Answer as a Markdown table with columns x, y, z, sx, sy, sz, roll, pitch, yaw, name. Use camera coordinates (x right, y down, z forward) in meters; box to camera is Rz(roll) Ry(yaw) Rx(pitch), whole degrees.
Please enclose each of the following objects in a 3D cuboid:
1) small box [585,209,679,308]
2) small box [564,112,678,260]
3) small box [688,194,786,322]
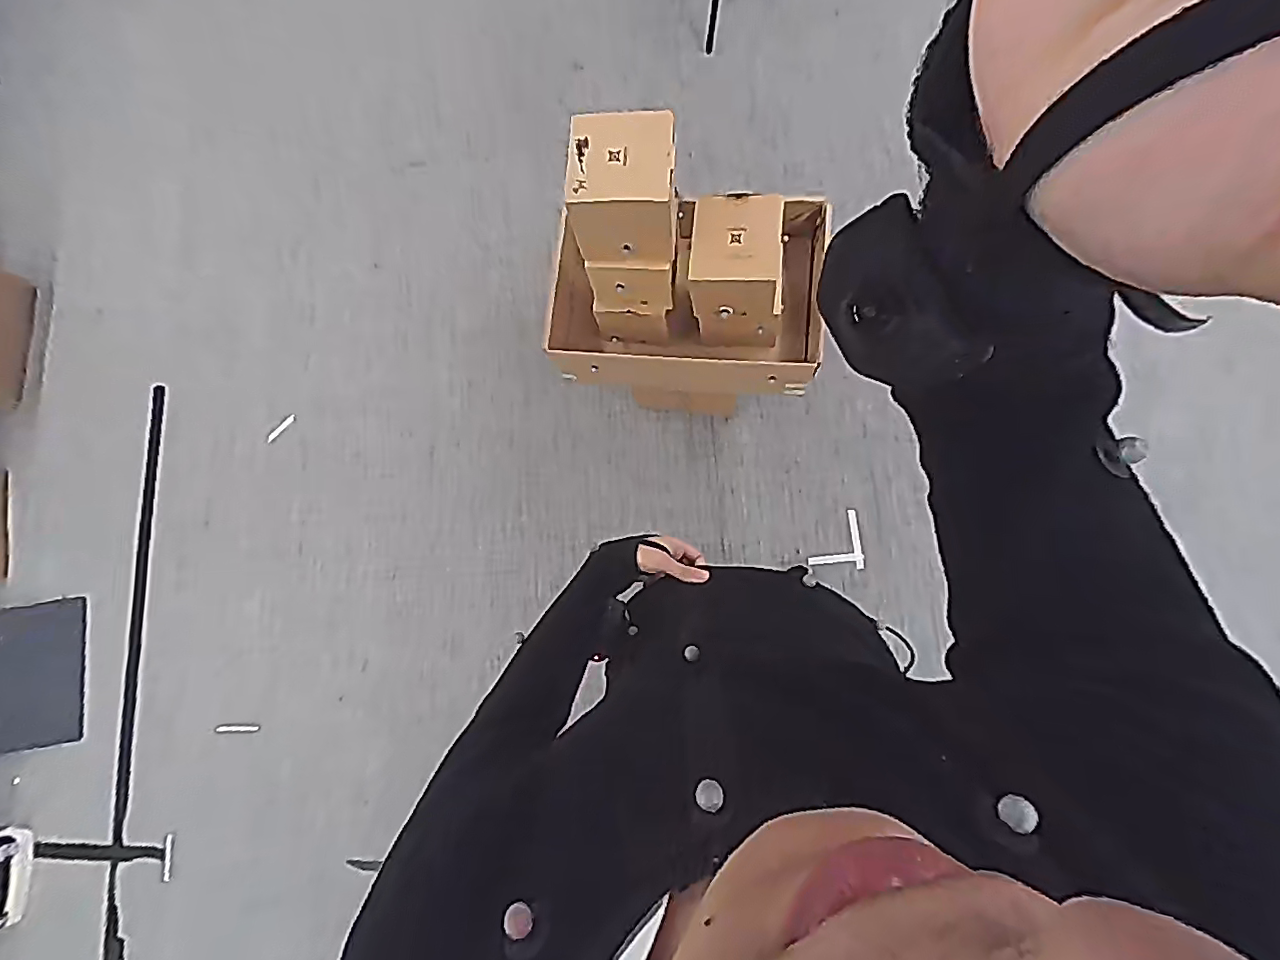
| x | y | z | sx | sy | sz | roll | pitch | yaw | name |
| --- | --- | --- | --- | --- | --- | --- | --- | --- | --- |
| -0.009 | -0.472 | 1.115 | 0.168 | 0.176 | 0.179 | 5 | 80 | 6 | small box |
| -0.024 | -0.510 | 0.956 | 0.179 | 0.176 | 0.168 | 4 | 80 | 6 | small box |
| 0.192 | -0.437 | 1.077 | 0.168 | 0.176 | 0.179 | 5 | 81 | 11 | small box |
